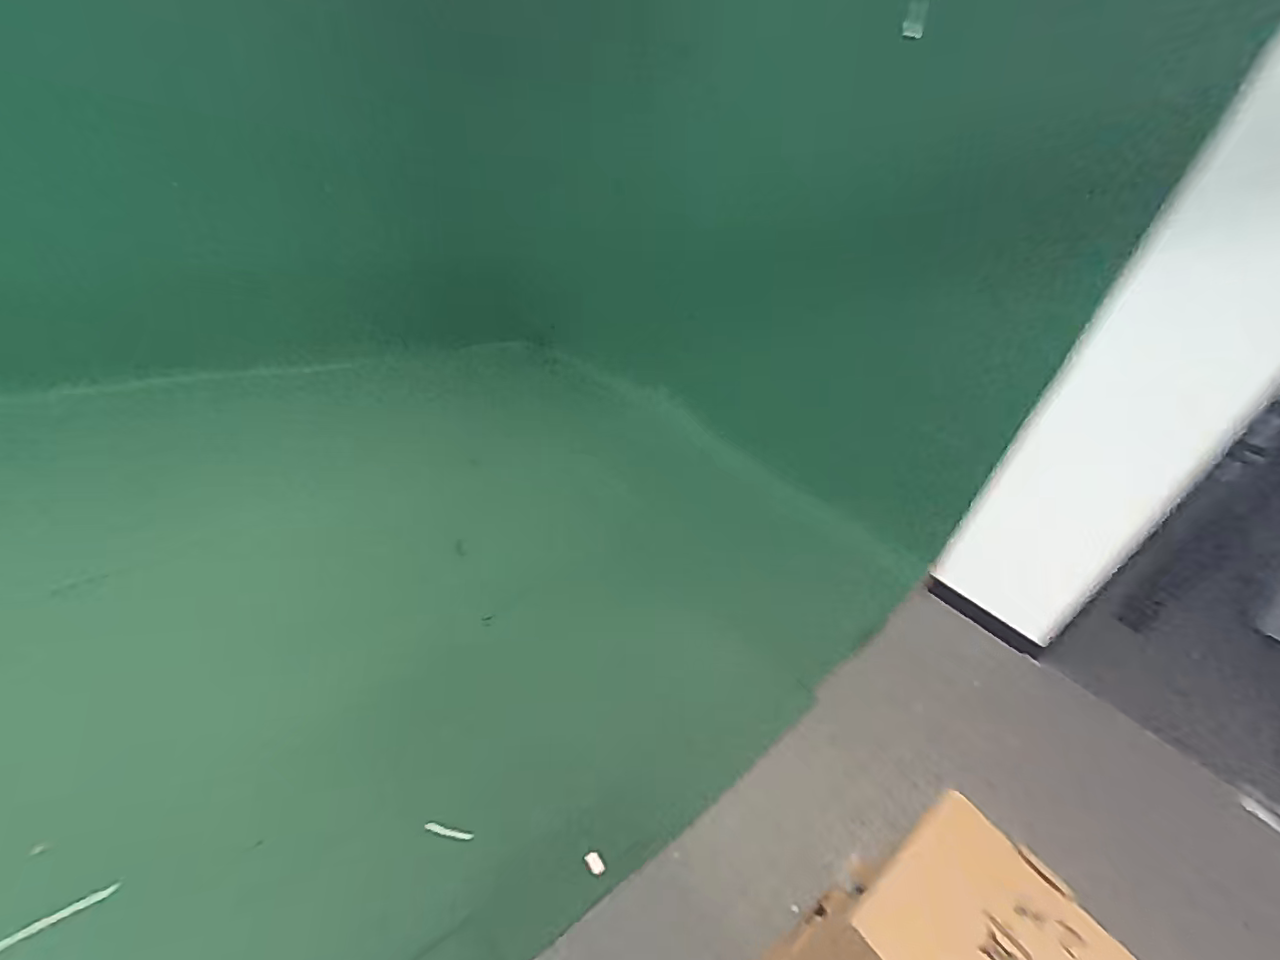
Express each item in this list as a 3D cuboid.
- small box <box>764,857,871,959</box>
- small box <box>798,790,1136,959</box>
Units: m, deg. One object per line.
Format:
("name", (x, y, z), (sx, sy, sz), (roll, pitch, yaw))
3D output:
("small box", (0.219, 0.542, 0.544), (0.168, 0.176, 0.179), (-17, 46, -36))
("small box", (0.256, 0.413, 0.449), (0.179, 0.176, 0.168), (-17, 46, -35))
